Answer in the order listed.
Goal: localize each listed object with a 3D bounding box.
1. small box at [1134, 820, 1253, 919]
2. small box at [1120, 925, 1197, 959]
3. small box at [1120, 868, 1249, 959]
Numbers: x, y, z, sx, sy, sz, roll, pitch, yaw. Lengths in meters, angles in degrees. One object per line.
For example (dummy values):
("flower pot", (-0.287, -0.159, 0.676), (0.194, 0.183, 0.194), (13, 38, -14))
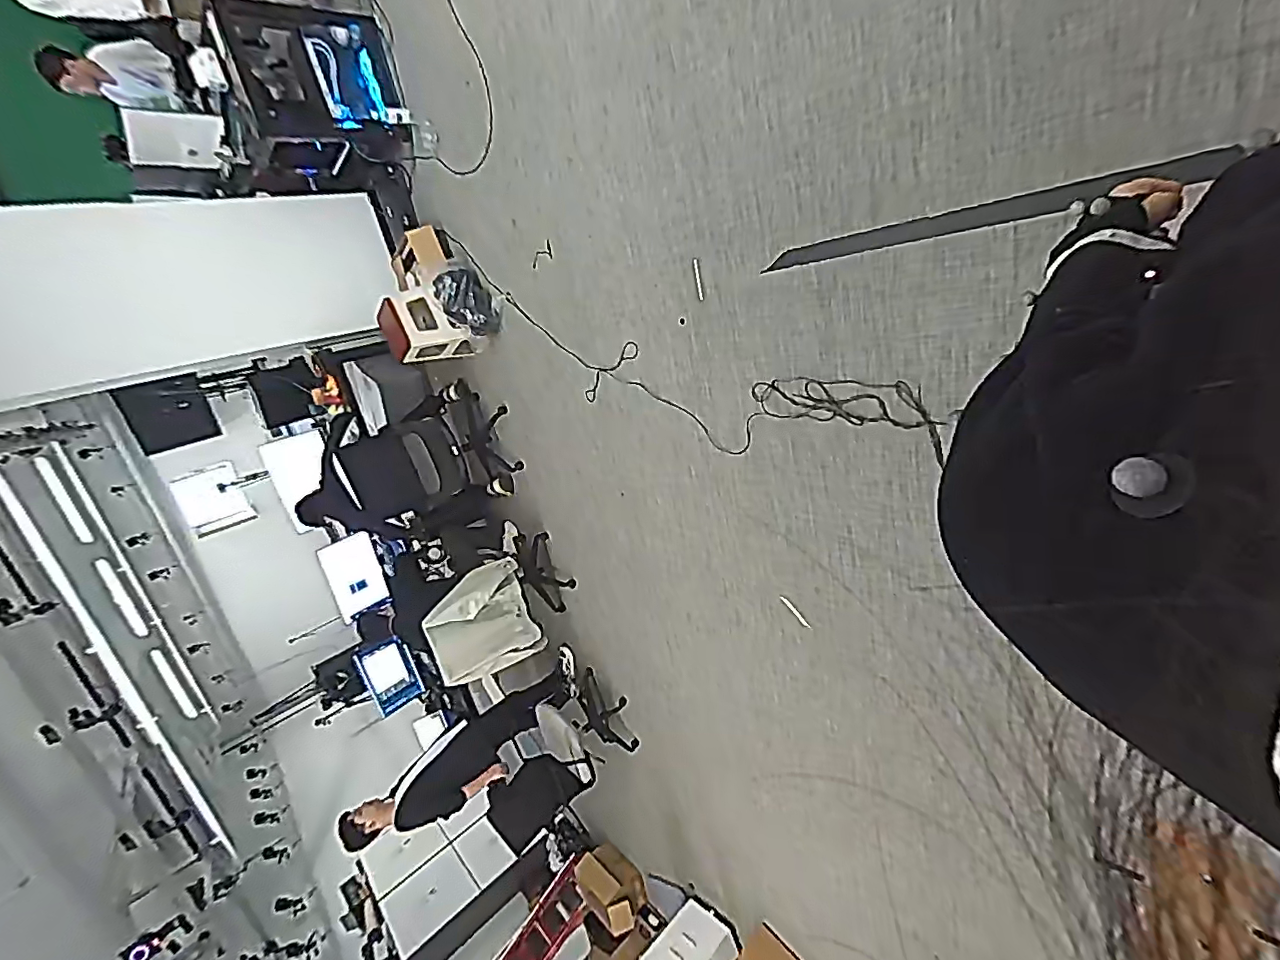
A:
("small box", (1.397, 1.008, 1.368), (0.179, 0.176, 0.168), (17, 124, 44))
("small box", (1.167, 1.144, 1.180), (0.179, 0.176, 0.168), (18, 124, 44))
("small box", (1.281, 1.077, 1.273), (0.179, 0.176, 0.168), (21, 126, 42))
